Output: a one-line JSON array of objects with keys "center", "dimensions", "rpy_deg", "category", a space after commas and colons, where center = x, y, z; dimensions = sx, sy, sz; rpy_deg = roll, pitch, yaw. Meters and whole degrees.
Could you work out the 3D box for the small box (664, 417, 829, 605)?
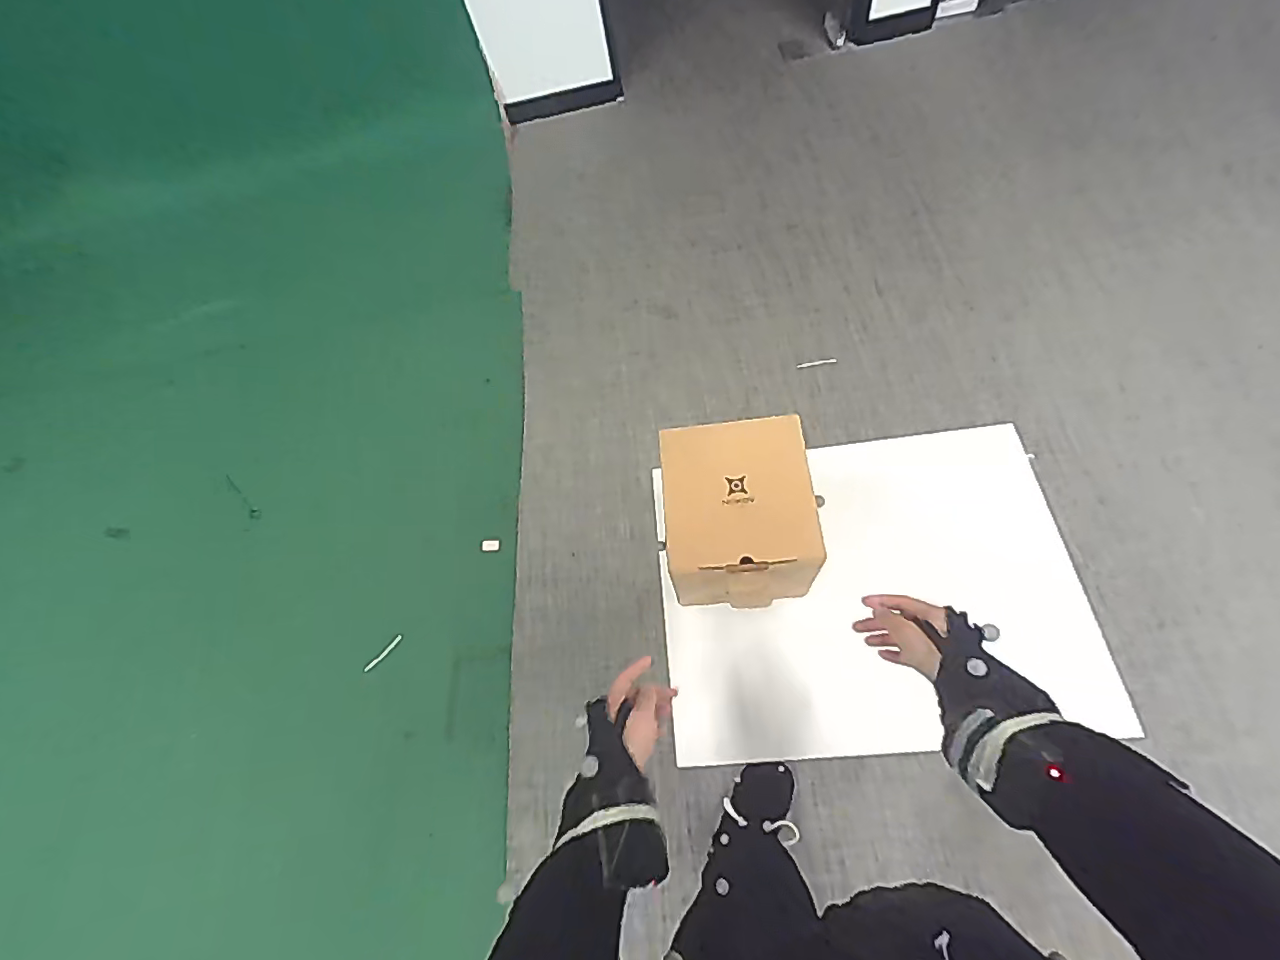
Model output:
[{"center": [0.119, 0.045, 0.667], "dimensions": [0.168, 0.176, 0.179], "rpy_deg": [-6, 65, 6], "category": "small box"}]
